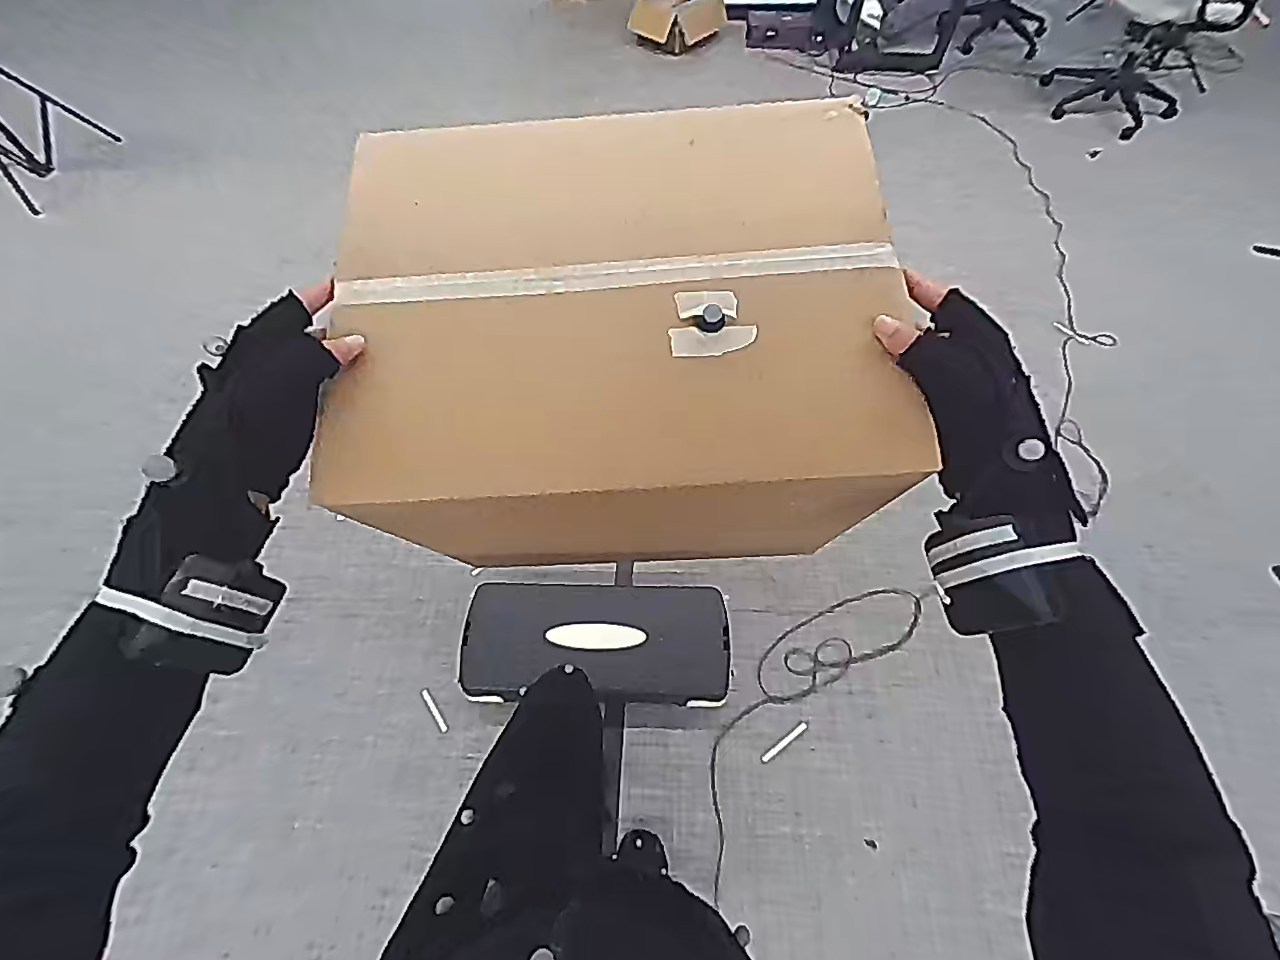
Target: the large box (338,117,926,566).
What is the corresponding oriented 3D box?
[{"bbox_3d":[-0.011,-0.099,0.546,0.408,0.320,0.320,-3,73,1],"label":"large box"}]
